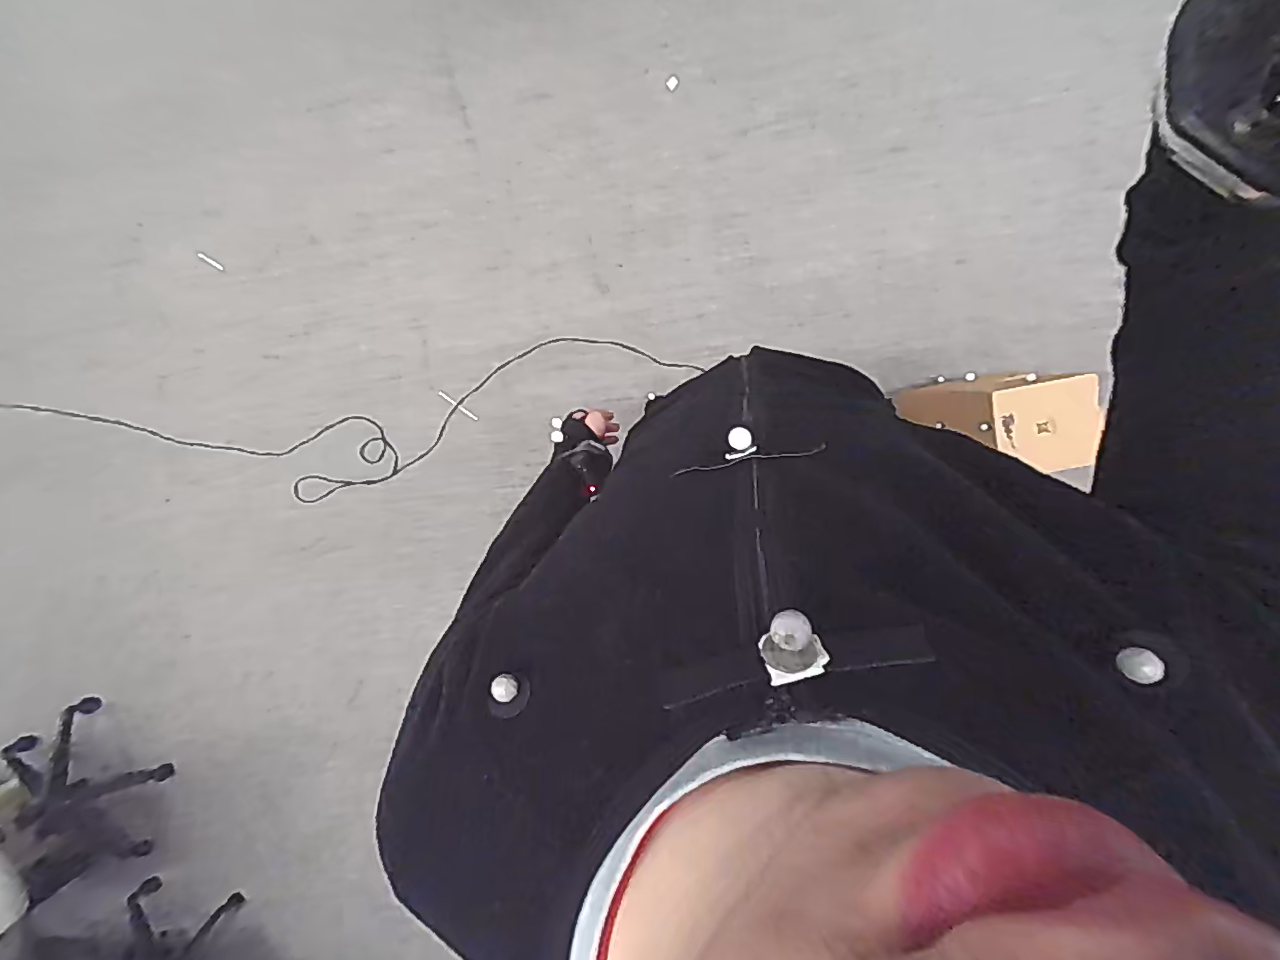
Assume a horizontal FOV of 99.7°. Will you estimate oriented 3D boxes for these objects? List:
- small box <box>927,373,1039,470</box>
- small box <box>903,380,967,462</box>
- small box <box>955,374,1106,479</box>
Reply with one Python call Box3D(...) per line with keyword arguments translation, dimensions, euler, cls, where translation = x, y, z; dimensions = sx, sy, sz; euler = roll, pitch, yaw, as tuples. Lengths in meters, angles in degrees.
Box3D(translation=(0.766, -0.134, 1.205), dimensions=(0.168, 0.176, 0.179), euler=(-12, 97, 9), cls="small box")
Box3D(translation=(0.788, -0.154, 1.367), dimensions=(0.168, 0.176, 0.179), euler=(-12, 96, 9), cls="small box")
Box3D(translation=(0.744, -0.108, 1.045), dimensions=(0.179, 0.176, 0.168), euler=(-10, 98, 8), cls="small box")
